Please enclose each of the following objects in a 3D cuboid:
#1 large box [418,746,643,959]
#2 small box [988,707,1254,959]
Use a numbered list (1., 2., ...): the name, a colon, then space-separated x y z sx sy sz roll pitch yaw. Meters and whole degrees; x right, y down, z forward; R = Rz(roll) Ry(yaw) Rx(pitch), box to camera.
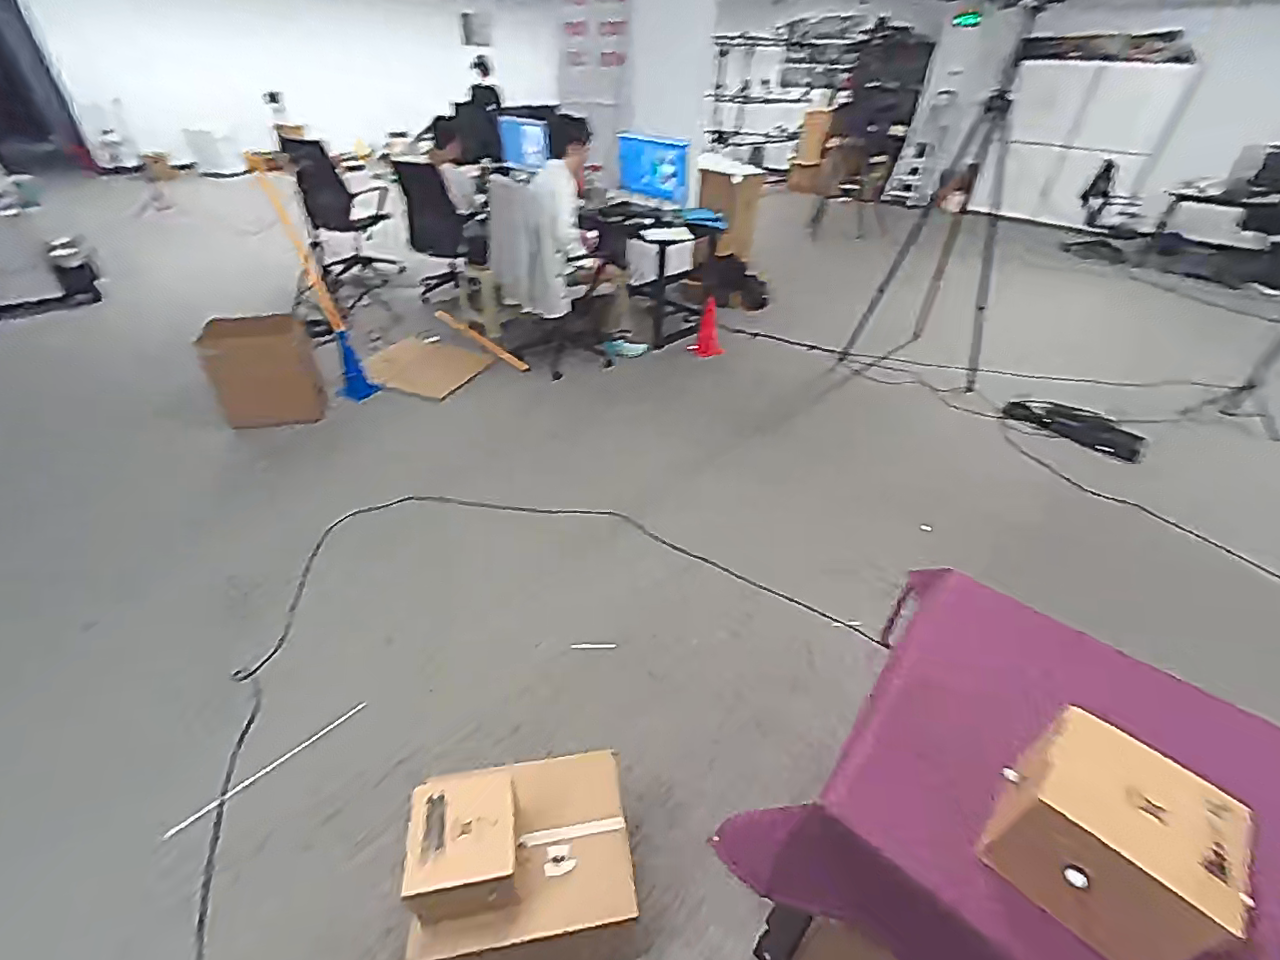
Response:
1. large box: -0.223 0.828 1.159 0.408 0.320 0.320 -4 38 -10
2. small box: 0.556 0.422 0.644 0.168 0.176 0.179 -30 47 -35
